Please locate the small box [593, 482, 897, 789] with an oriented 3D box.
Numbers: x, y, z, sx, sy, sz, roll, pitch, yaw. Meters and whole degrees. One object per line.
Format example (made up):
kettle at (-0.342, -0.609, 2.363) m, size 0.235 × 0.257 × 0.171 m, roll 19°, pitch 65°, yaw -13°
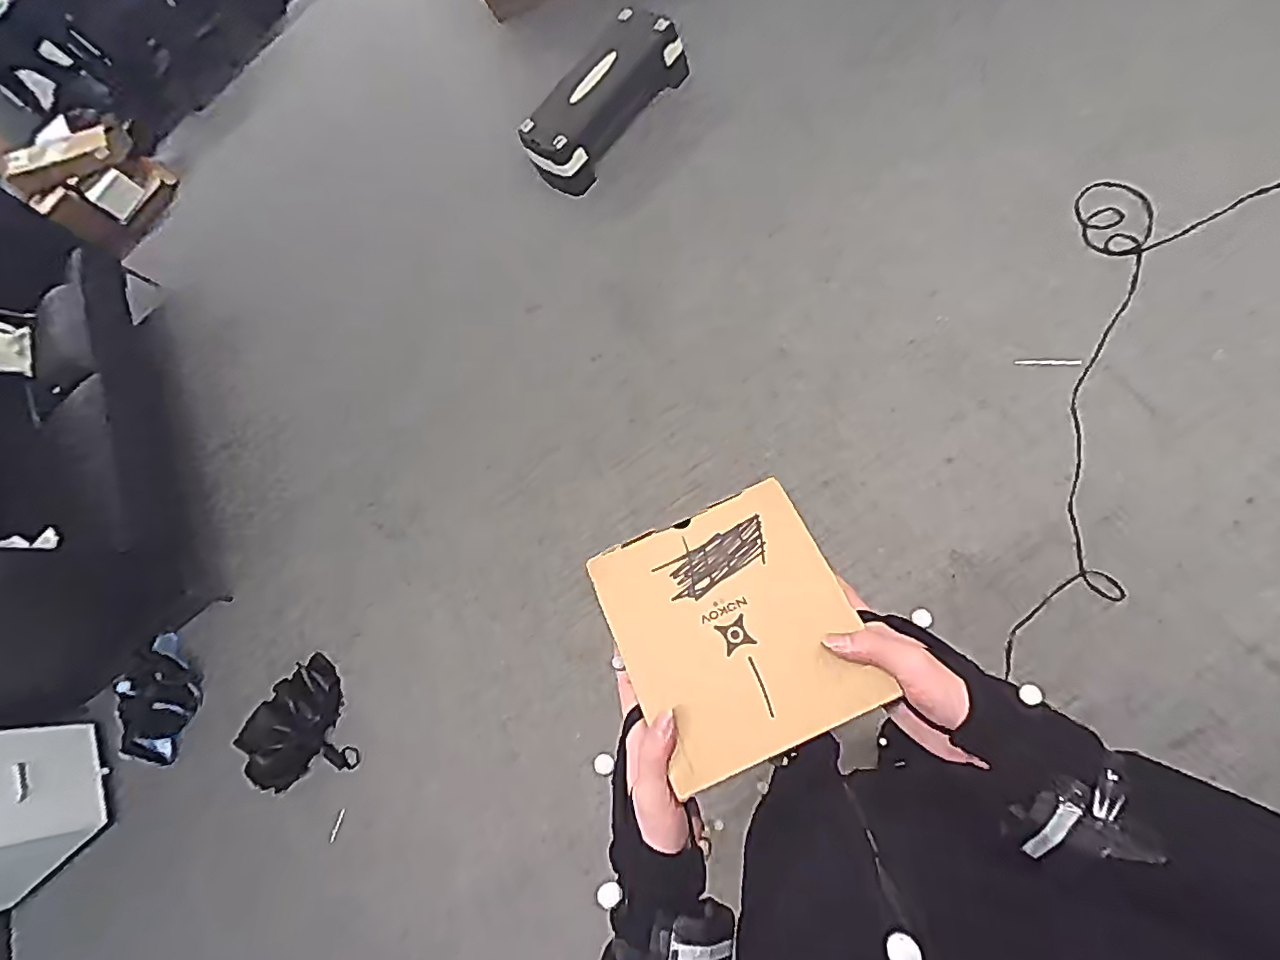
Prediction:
small box at (0.076, 0.134, 0.463) m, size 0.168 × 0.176 × 0.179 m, roll -23°, pitch 66°, yaw -2°
